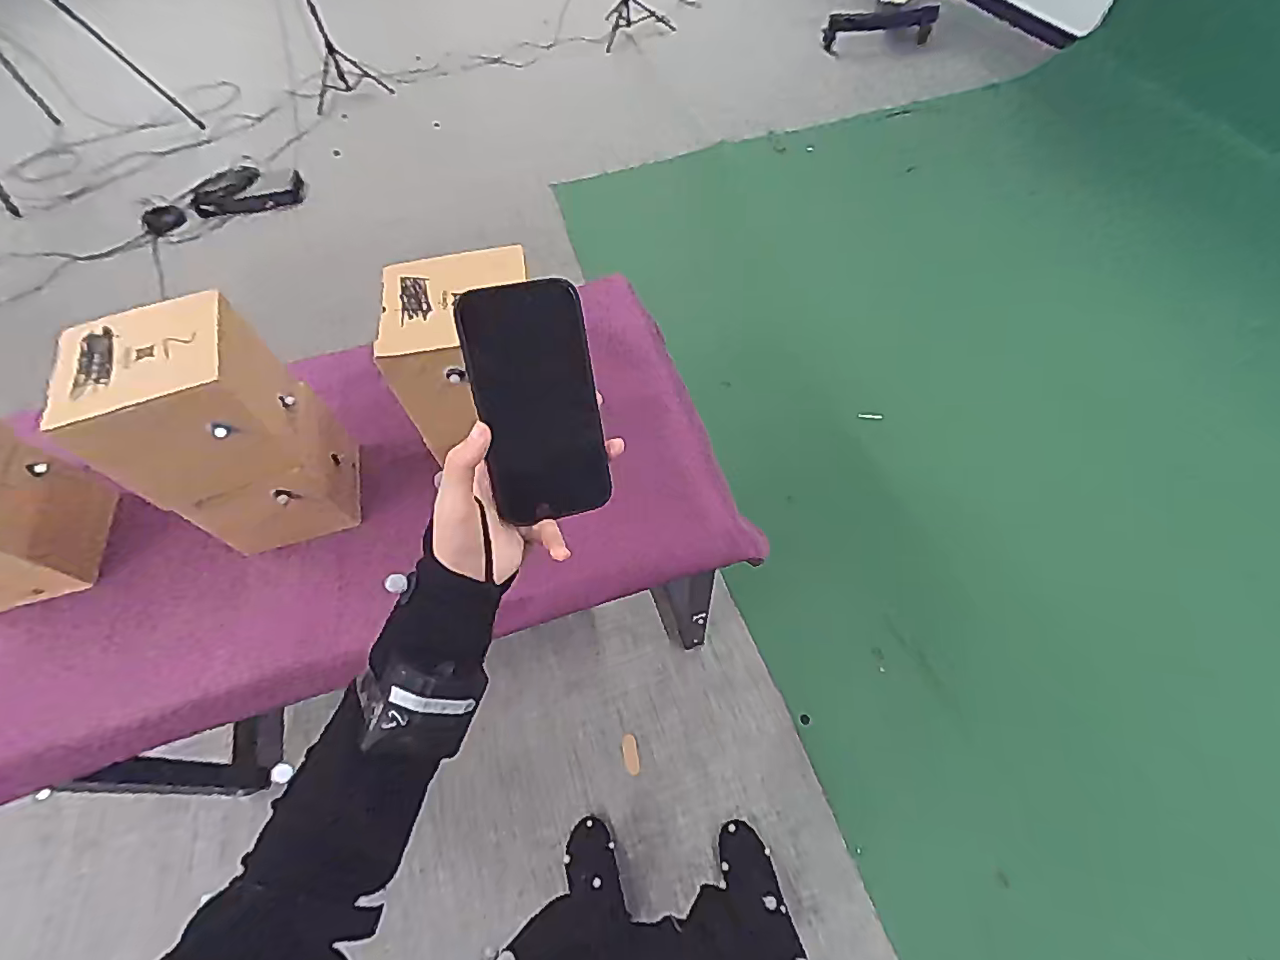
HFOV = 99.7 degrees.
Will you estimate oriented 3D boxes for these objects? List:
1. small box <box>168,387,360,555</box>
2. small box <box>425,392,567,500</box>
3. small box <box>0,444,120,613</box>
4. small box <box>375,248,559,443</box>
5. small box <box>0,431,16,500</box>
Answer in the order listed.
[{"bbox_3d":[-0.545,-0.009,0.816,0.179,0.176,0.168,-16,58,-6],"label":"small box"},{"bbox_3d":[-0.214,-0.088,0.845,0.179,0.176,0.168,-11,57,-2],"label":"small box"},{"bbox_3d":[-0.924,0.080,0.788,0.168,0.176,0.179,-15,58,-5],"label":"small box"},{"bbox_3d":[-0.212,-0.166,0.699,0.179,0.176,0.168,-11,57,-3],"label":"small box"},{"bbox_3d":[-0.937,-0.014,0.654,0.168,0.176,0.179,-19,59,-9],"label":"small box"}]
